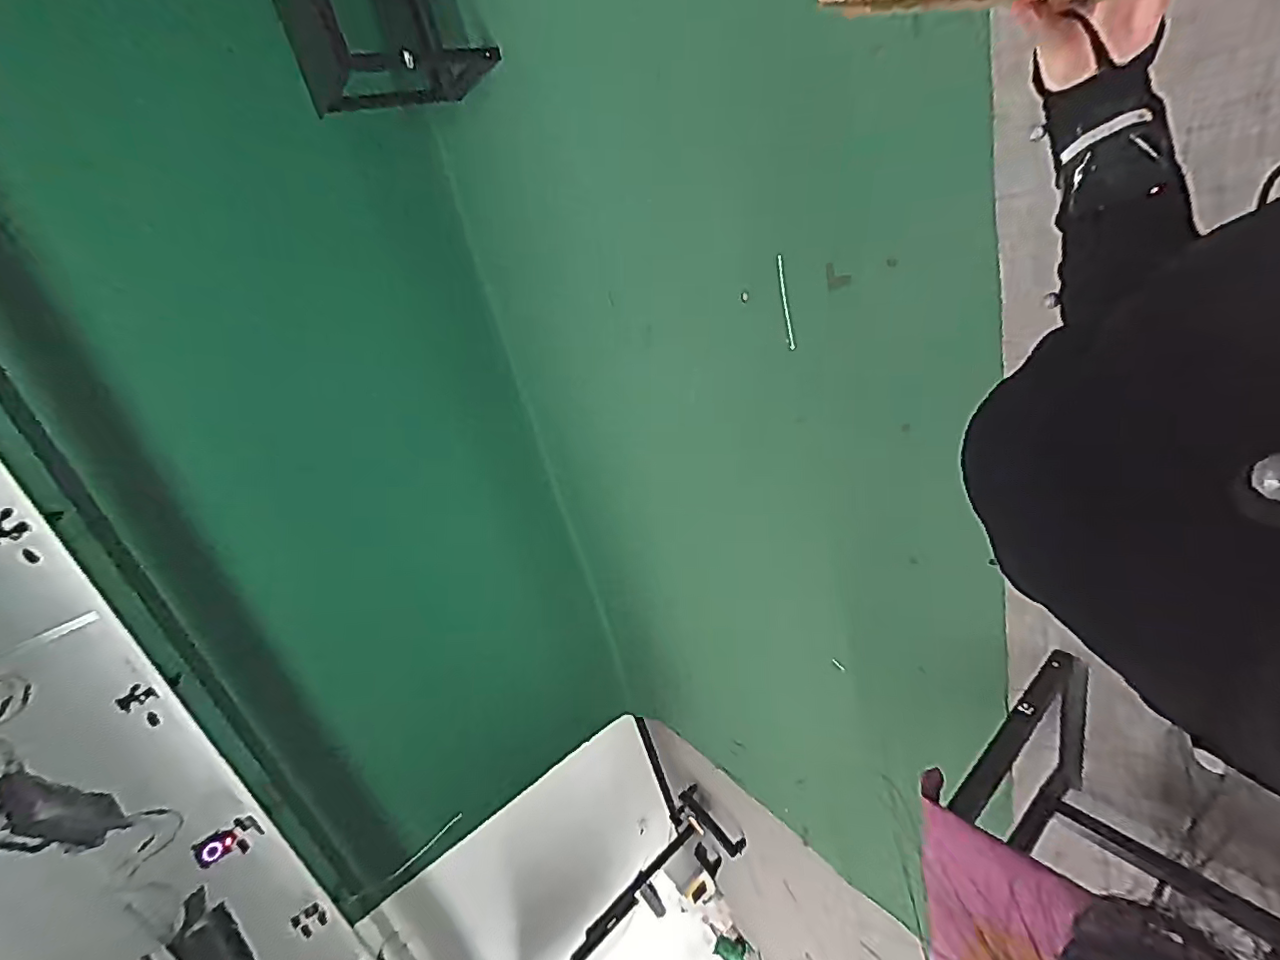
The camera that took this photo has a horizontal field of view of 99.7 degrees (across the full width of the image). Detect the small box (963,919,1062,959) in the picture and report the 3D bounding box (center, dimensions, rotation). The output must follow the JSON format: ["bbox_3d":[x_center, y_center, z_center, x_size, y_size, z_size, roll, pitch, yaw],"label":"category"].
[{"bbox_3d":[0.809,1.098,1.147,0.179,0.176,0.168,-17,100,60],"label":"small box"}]
